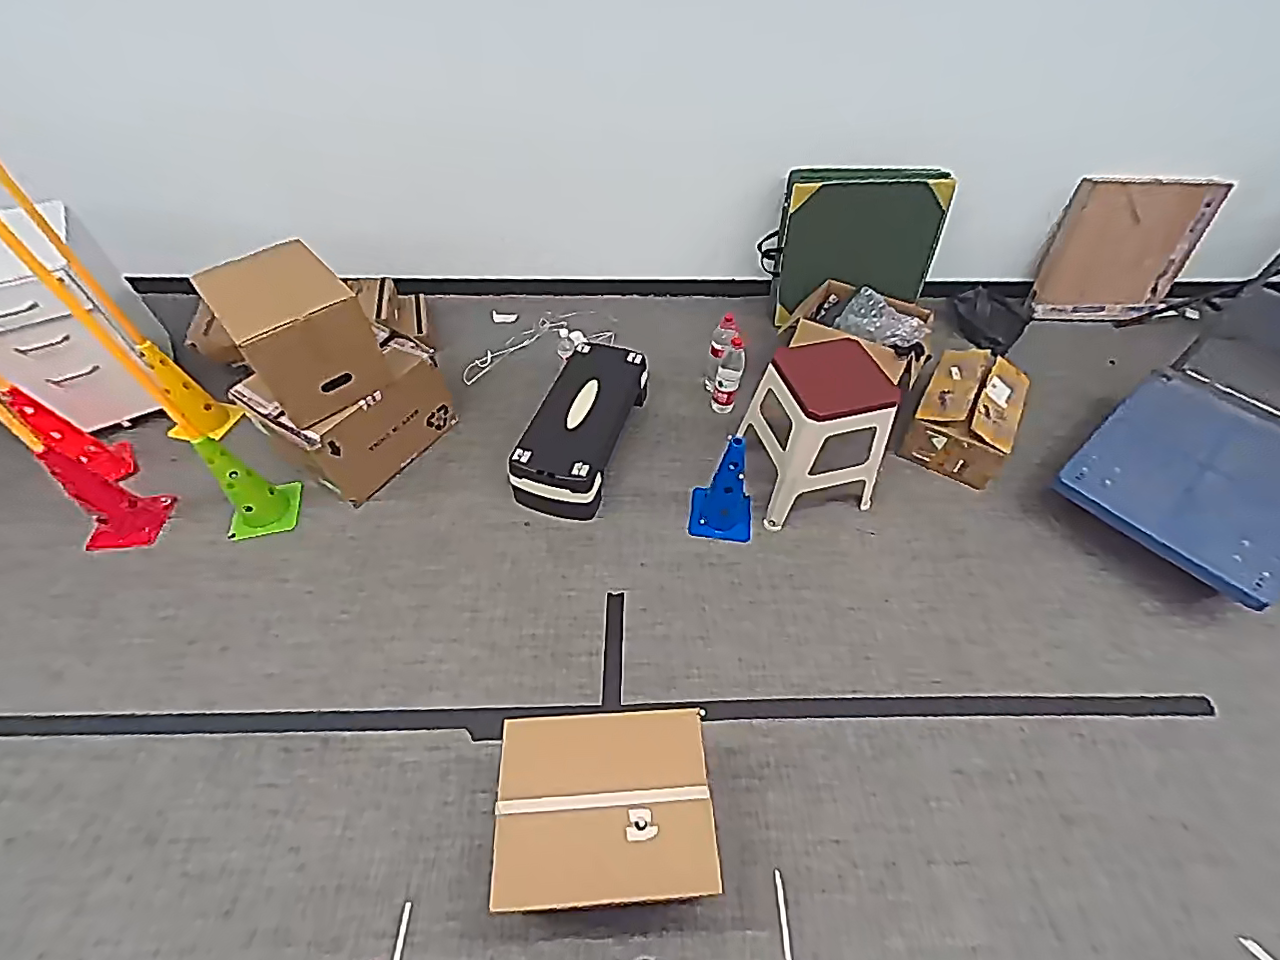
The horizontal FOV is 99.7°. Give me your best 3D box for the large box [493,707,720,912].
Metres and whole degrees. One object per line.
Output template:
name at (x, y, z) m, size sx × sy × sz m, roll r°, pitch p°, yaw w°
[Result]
large box at (-0.074, 0.697, 1.142) m, size 0.408 × 0.320 × 0.320 m, roll -1°, pitch 52°, yaw -4°
